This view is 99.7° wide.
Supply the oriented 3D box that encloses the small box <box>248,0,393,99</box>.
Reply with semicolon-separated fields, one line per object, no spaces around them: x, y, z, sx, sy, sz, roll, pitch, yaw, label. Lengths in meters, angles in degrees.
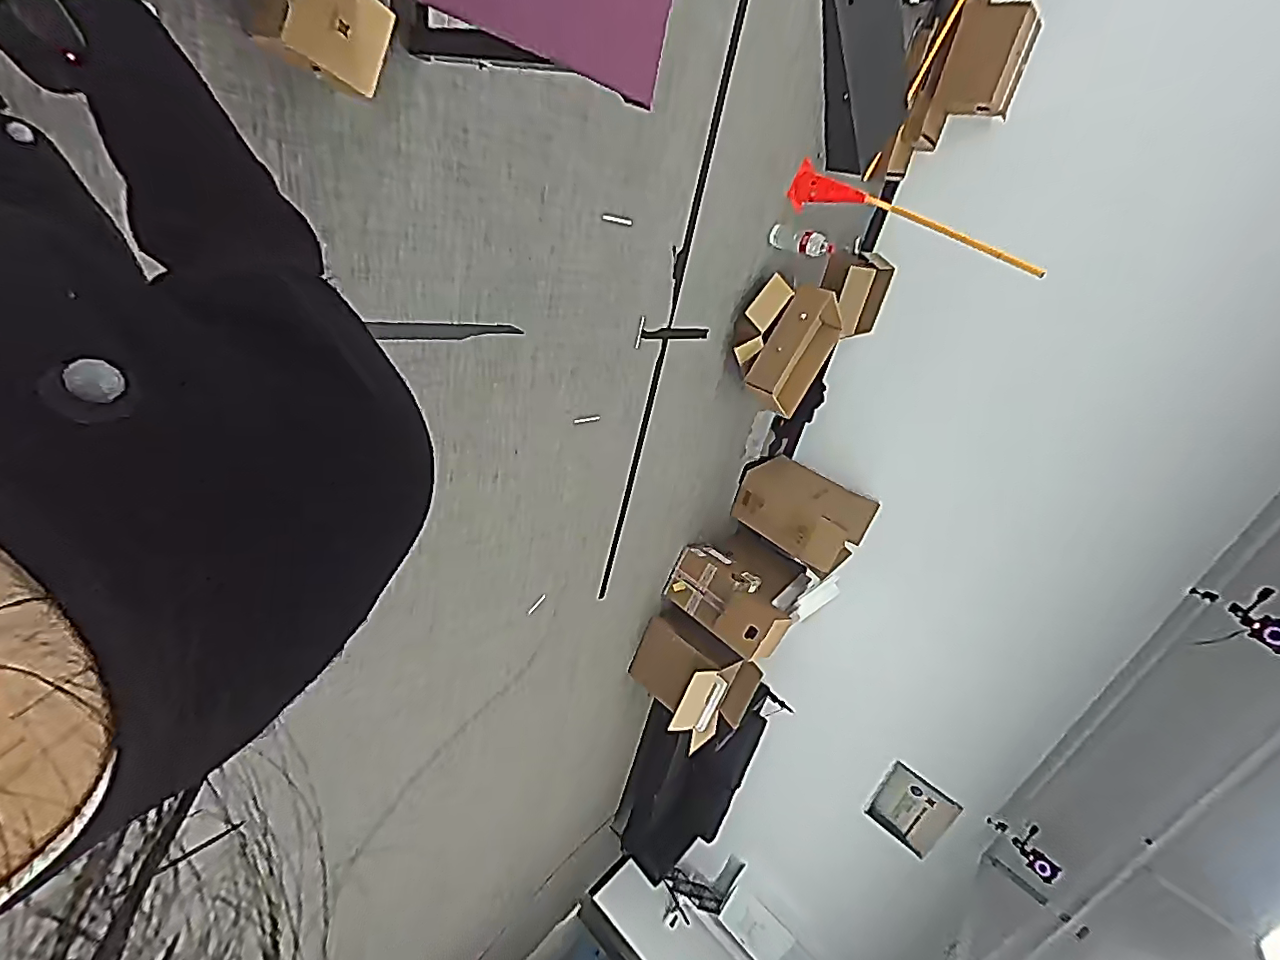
-0.634;-0.904;1.073;0.179;0.176;0.168;6;113;-55;small box
